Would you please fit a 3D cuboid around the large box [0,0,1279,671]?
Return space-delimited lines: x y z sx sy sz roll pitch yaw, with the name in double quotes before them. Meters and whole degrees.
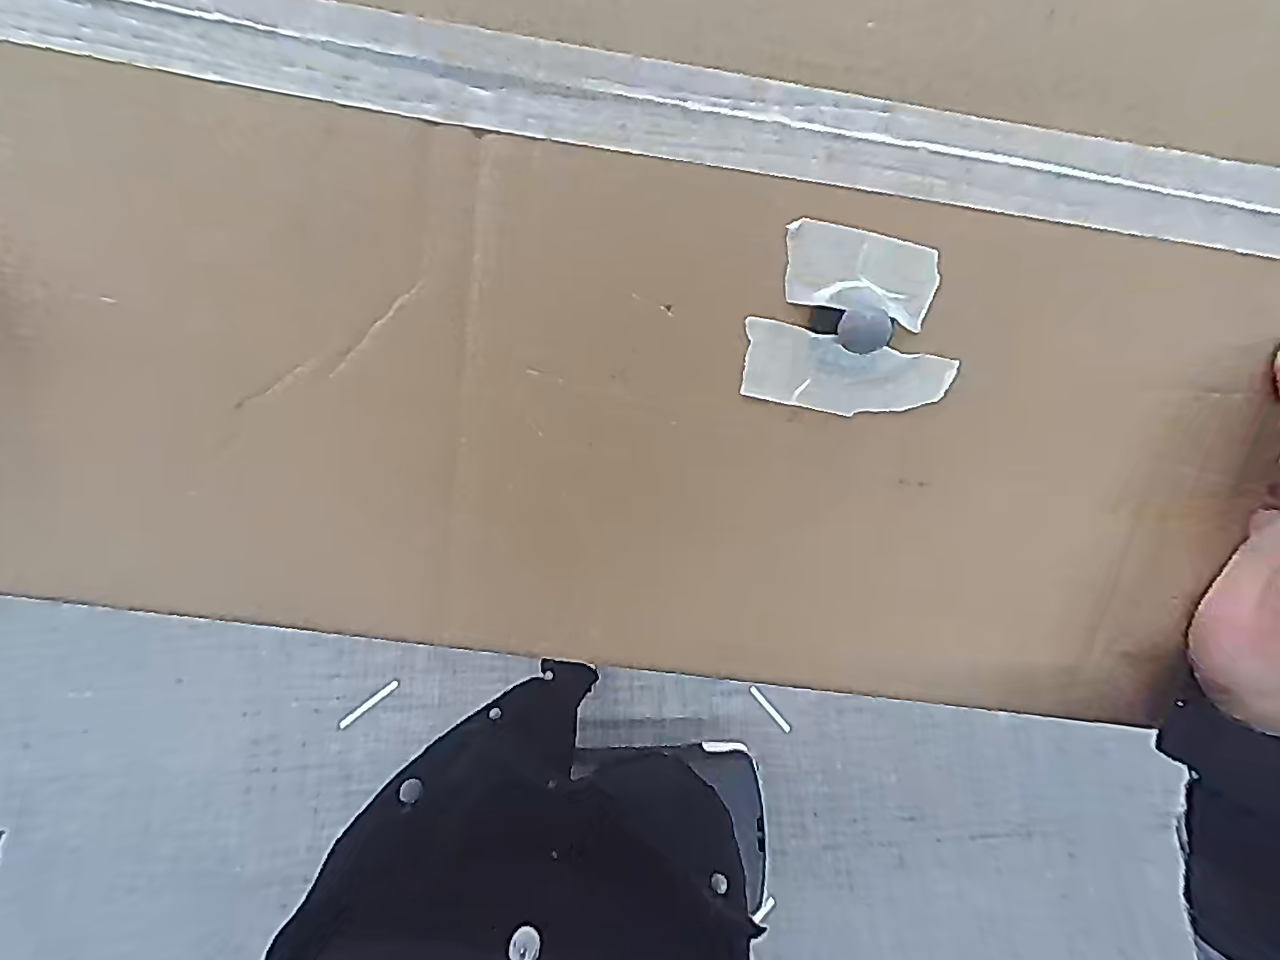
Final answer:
"large box" -0.008 -0.131 0.295 0.408 0.320 0.320 7 103 -4
